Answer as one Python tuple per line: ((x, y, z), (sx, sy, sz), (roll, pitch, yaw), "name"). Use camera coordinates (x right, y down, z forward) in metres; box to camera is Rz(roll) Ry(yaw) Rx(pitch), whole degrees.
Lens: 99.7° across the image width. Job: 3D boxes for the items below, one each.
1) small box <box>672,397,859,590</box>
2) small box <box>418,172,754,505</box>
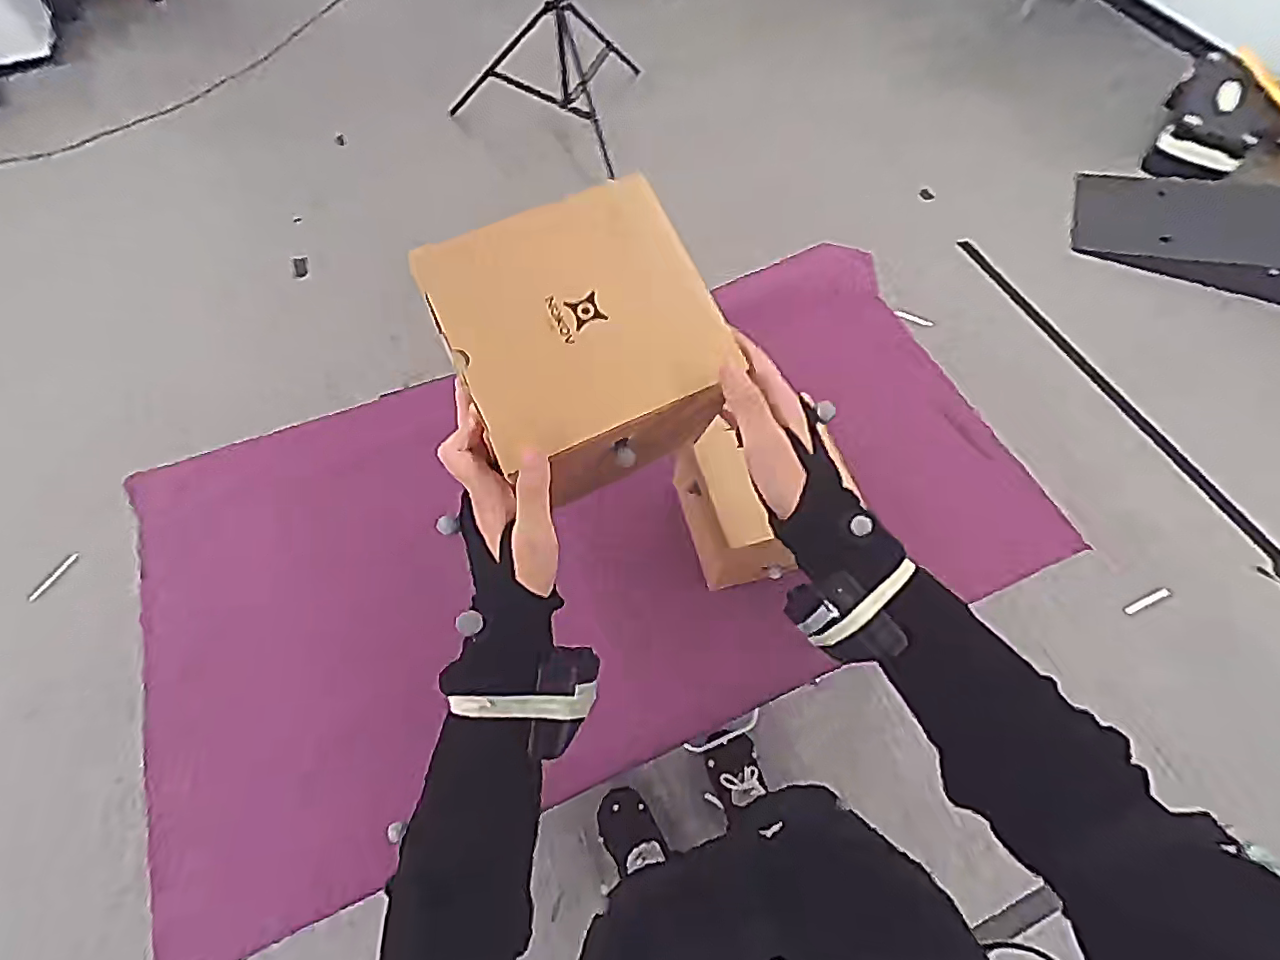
((0.145, 0.022, 0.703), (0.168, 0.176, 0.179), (-13, 65, -7), "small box")
((-0.042, -0.094, 0.431), (0.179, 0.176, 0.168), (-25, 82, -9), "small box")
